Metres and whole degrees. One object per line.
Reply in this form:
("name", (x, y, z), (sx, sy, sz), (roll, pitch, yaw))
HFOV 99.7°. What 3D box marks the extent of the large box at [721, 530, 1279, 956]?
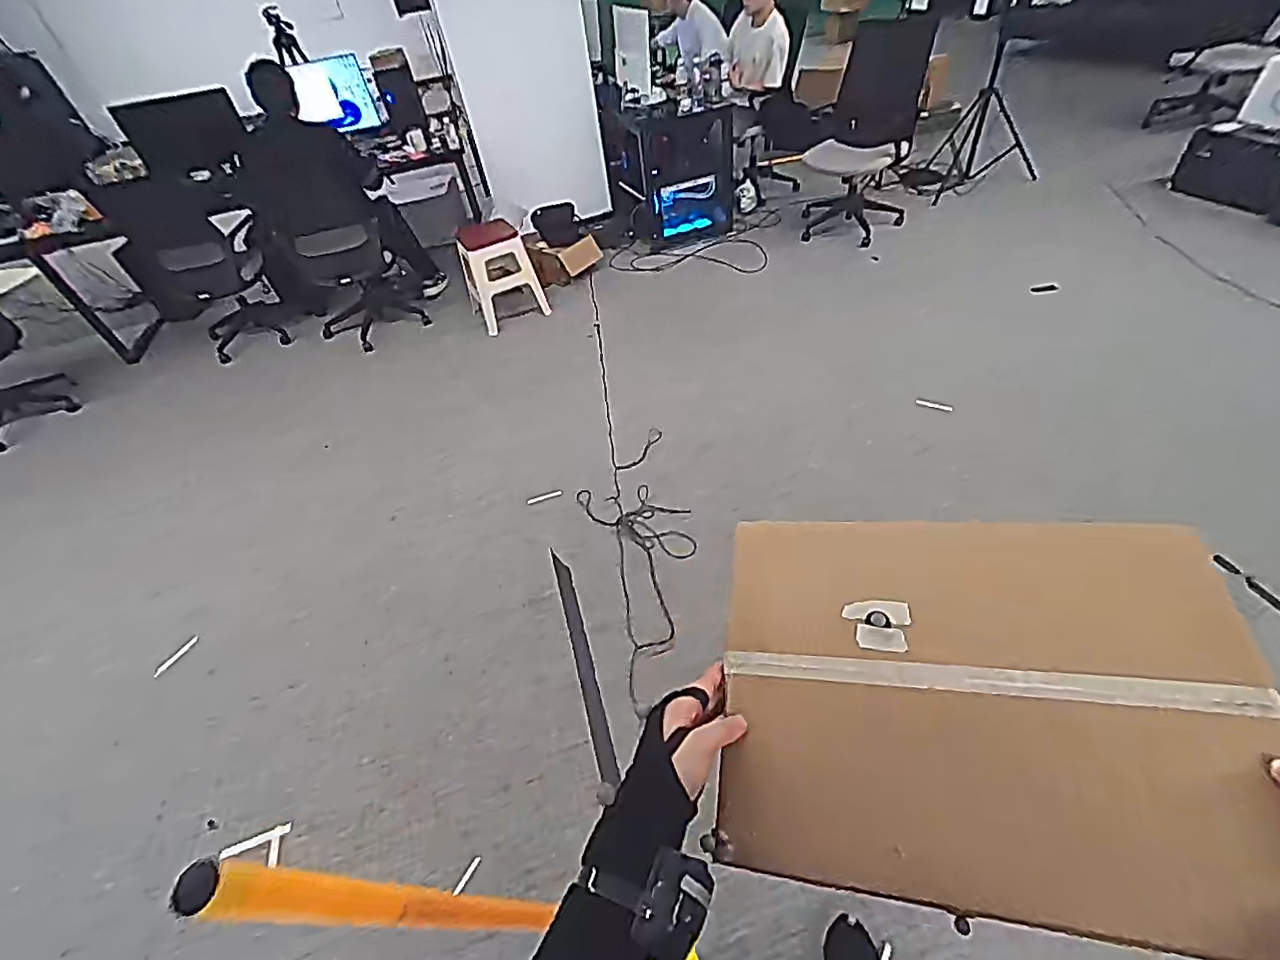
("large box", (0.316, 0.265, 0.586), (0.408, 0.320, 0.320), (-2, 53, 17))
